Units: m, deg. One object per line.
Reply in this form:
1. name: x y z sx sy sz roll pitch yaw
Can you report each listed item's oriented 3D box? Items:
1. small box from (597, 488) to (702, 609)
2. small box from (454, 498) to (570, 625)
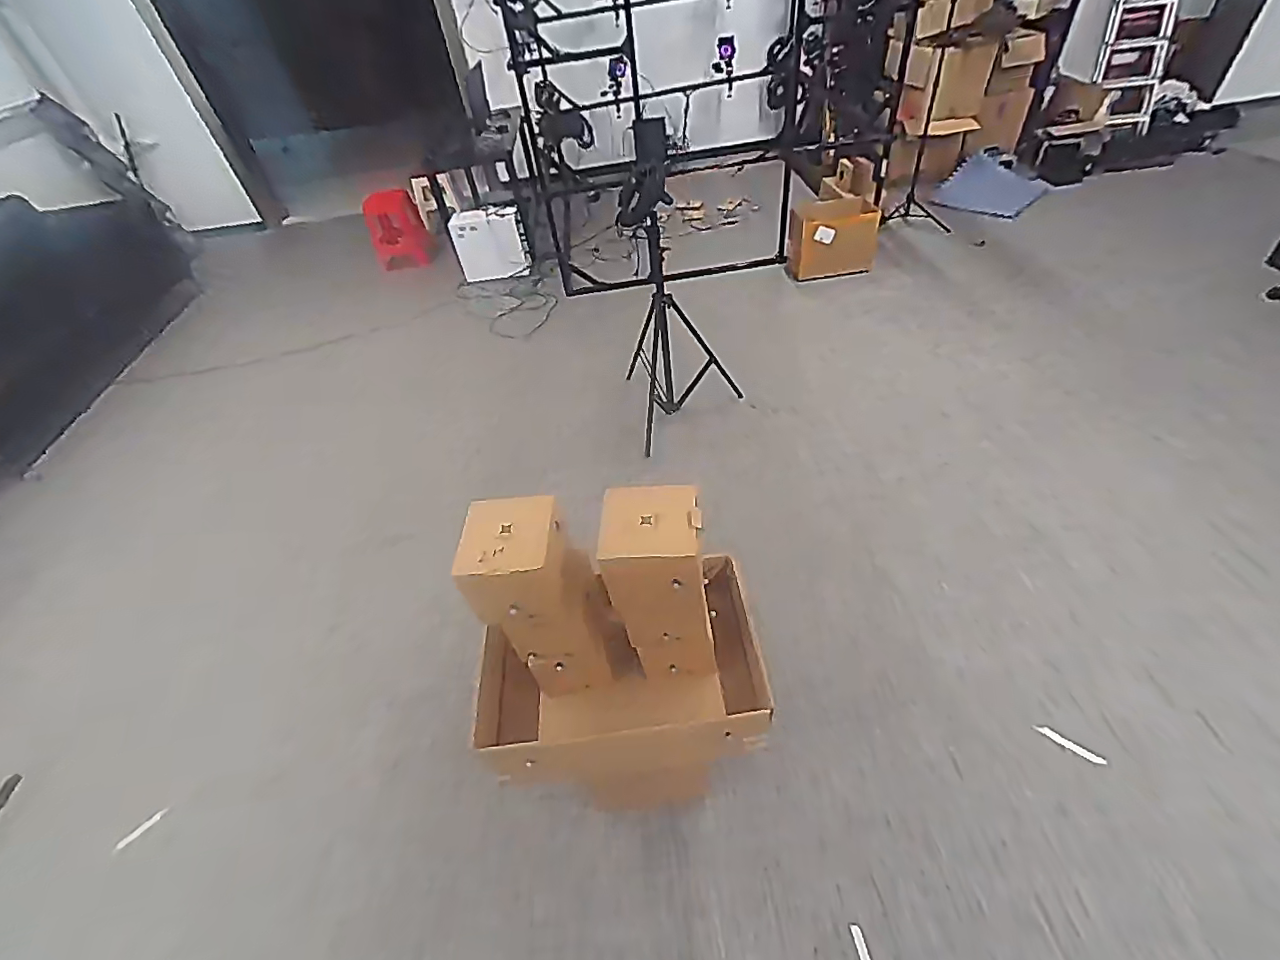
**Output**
1. small box: 0.027 0.131 1.025 0.179 0.176 0.168 -3 47 8
2. small box: -0.233 0.156 1.039 0.168 0.176 0.179 -5 46 4
